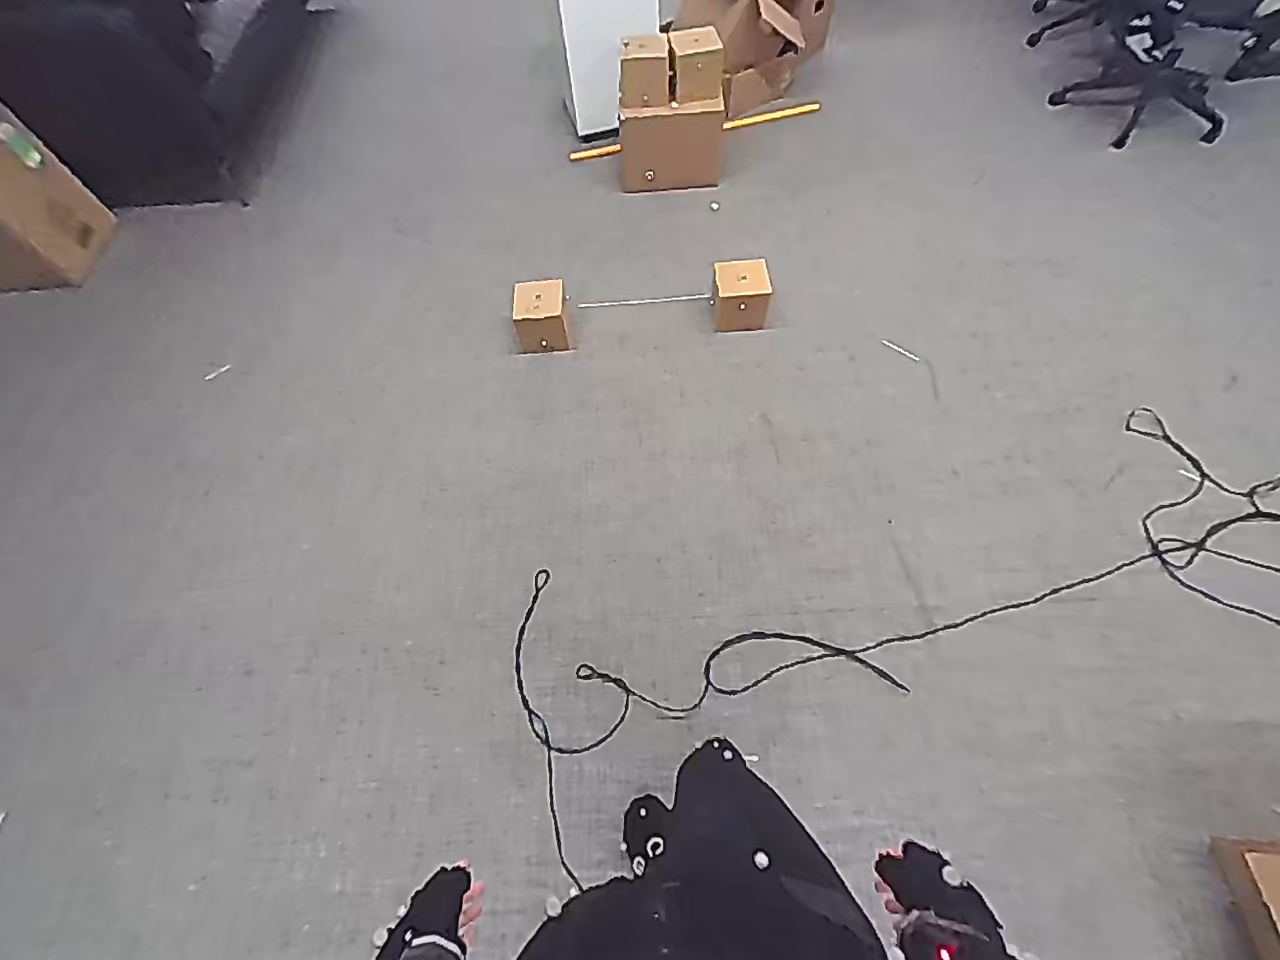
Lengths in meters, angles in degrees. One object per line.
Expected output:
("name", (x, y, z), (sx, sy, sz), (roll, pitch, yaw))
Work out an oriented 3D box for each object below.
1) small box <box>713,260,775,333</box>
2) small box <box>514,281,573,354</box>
("small box", (0.352, -0.629, 1.861), (0.179, 0.176, 0.168), (-5, 62, 2))
("small box", (-0.330, -0.561, 1.872), (0.168, 0.176, 0.179), (-5, 61, 2))
